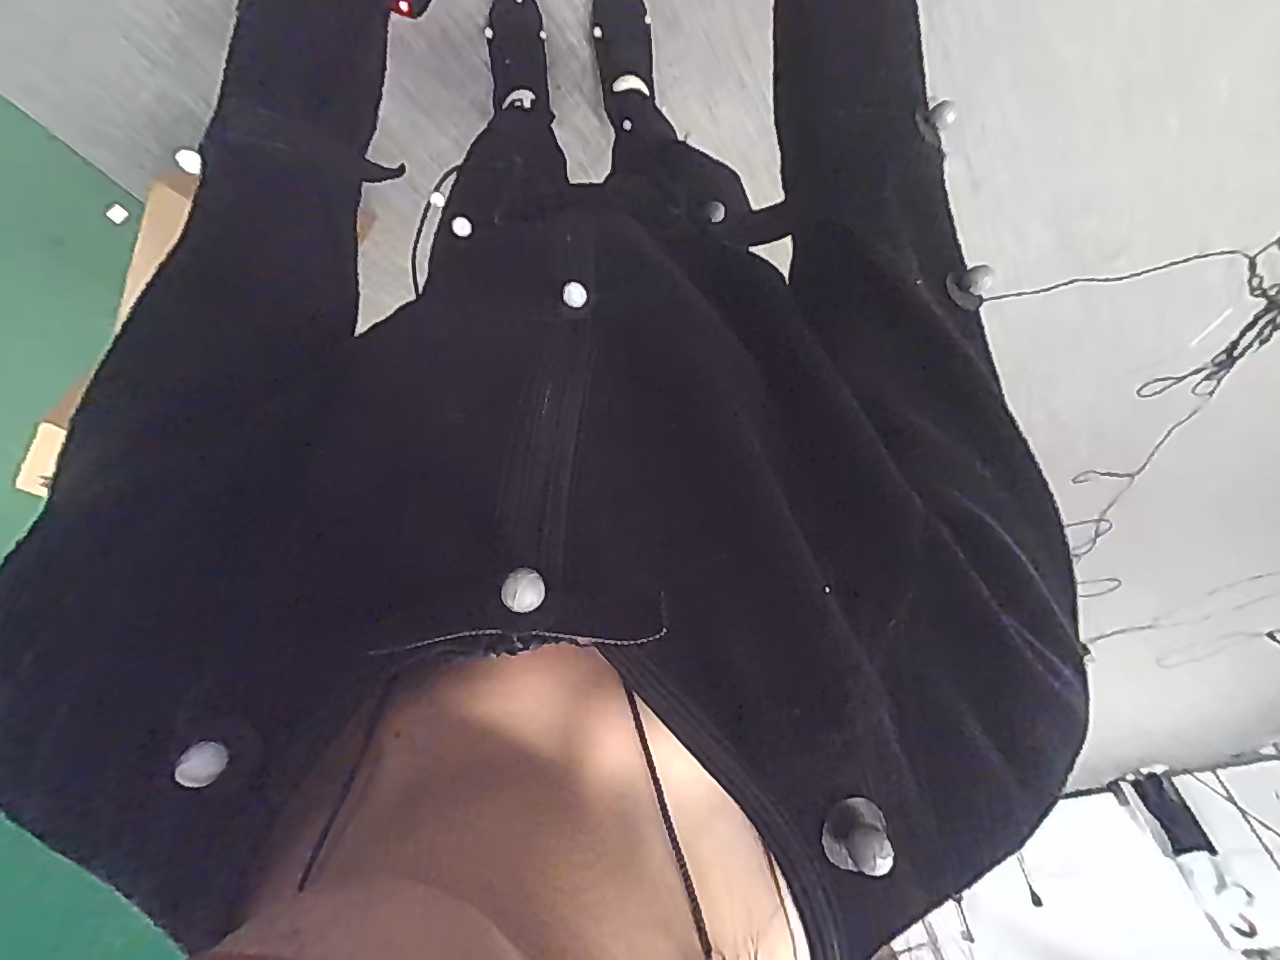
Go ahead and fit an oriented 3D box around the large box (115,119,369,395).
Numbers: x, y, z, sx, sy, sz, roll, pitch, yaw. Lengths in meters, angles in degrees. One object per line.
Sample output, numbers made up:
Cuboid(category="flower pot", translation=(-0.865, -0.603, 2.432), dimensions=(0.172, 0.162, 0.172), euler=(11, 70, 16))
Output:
Cuboid(category="large box", translation=(-0.865, -0.476, 1.201), dimensions=(0.320, 0.320, 0.408), euler=(30, 129, -33))
